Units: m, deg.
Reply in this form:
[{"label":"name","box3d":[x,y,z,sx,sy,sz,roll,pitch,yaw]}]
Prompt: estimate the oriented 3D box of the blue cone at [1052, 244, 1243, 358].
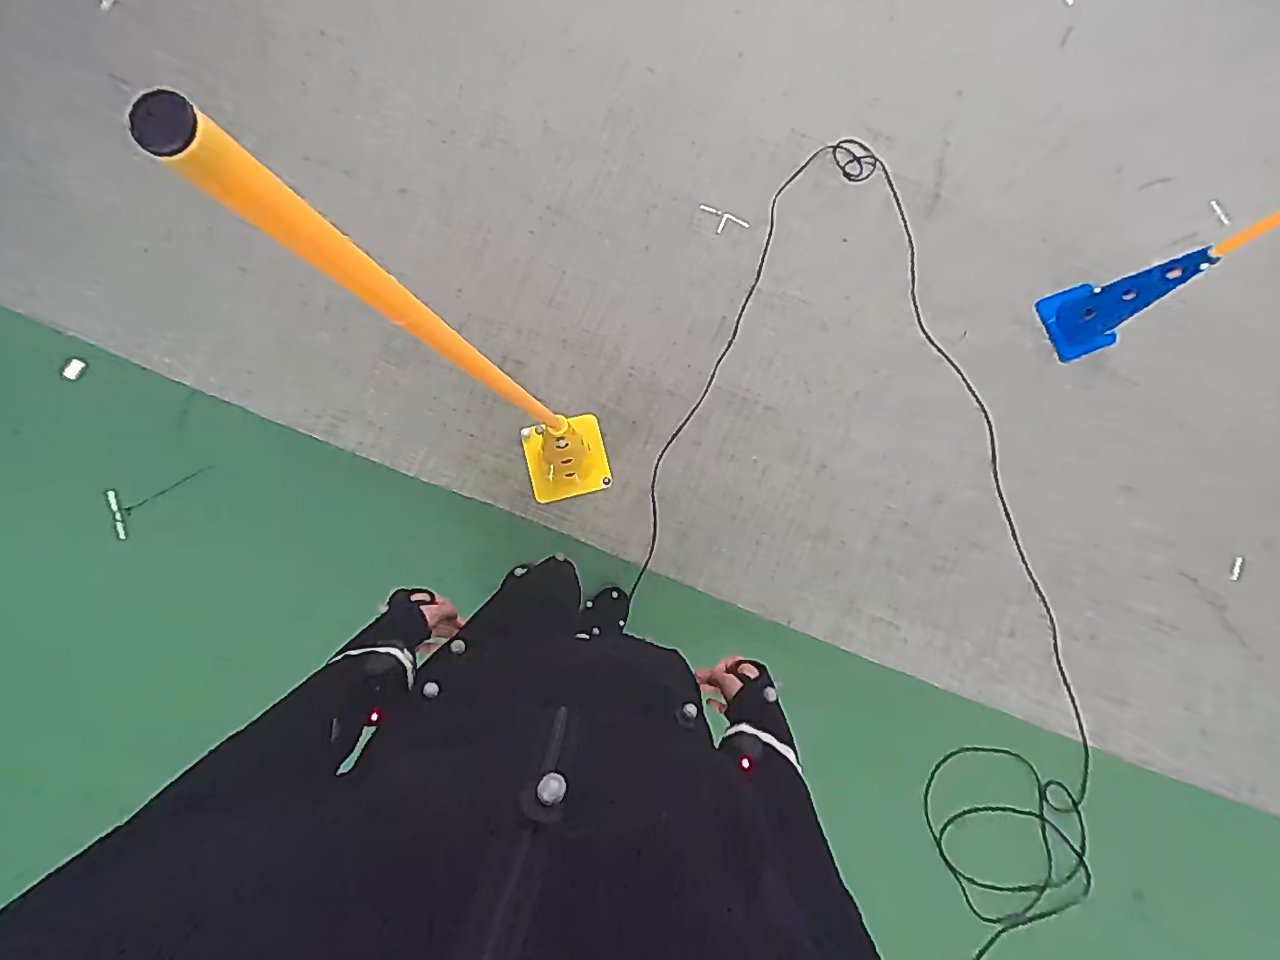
[{"label":"blue cone","box3d":[1.287,-0.481,1.368,0.193,0.380,0.192,-22,84,-9]}]
